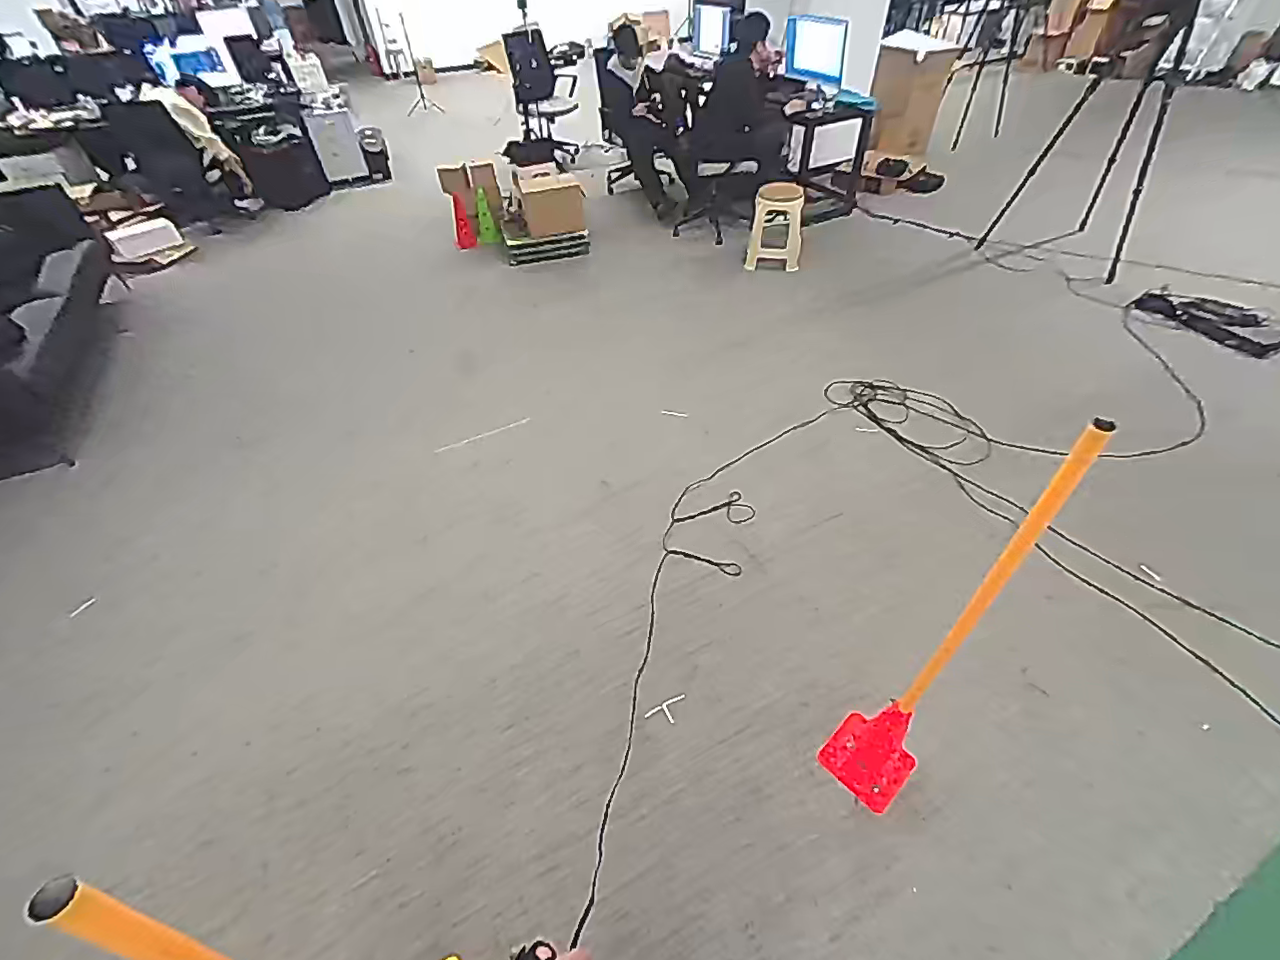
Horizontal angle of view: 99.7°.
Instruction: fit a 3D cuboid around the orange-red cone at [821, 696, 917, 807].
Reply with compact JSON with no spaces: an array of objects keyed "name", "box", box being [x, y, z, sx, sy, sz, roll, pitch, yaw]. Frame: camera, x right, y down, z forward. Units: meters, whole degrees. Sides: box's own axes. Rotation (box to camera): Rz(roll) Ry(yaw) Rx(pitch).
[{"name":"orange-red cone","box":[0.618,0.632,1.358,0.199,0.360,0.198,-33,52,-27]}]
